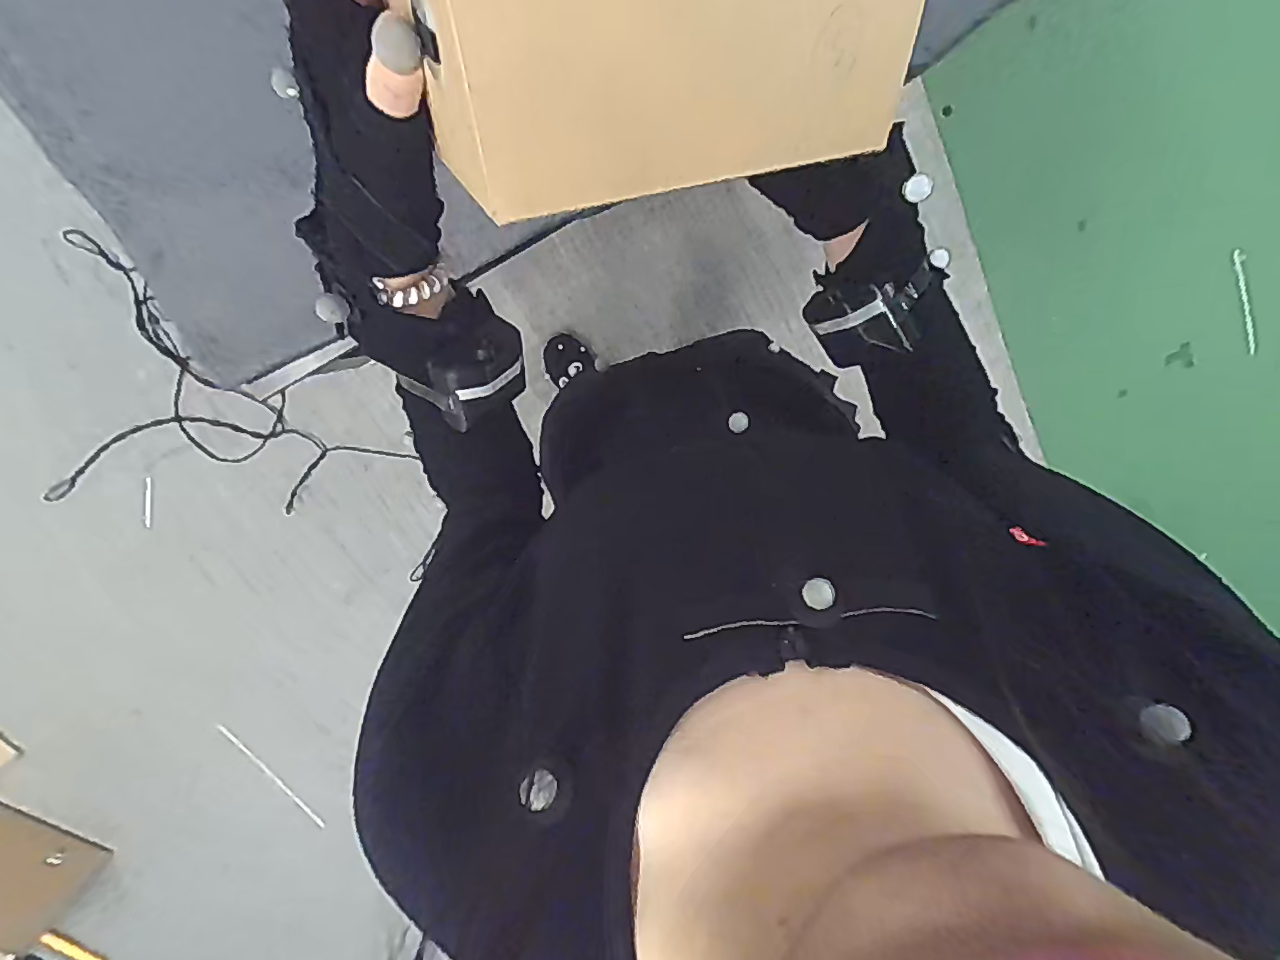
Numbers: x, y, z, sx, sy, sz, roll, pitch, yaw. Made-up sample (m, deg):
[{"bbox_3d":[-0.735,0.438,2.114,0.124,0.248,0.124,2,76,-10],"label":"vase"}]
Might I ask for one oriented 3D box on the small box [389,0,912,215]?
[{"bbox_3d":[-0.011,-0.226,0.202,0.168,0.176,0.179,-19,135,-17],"label":"small box"}]
